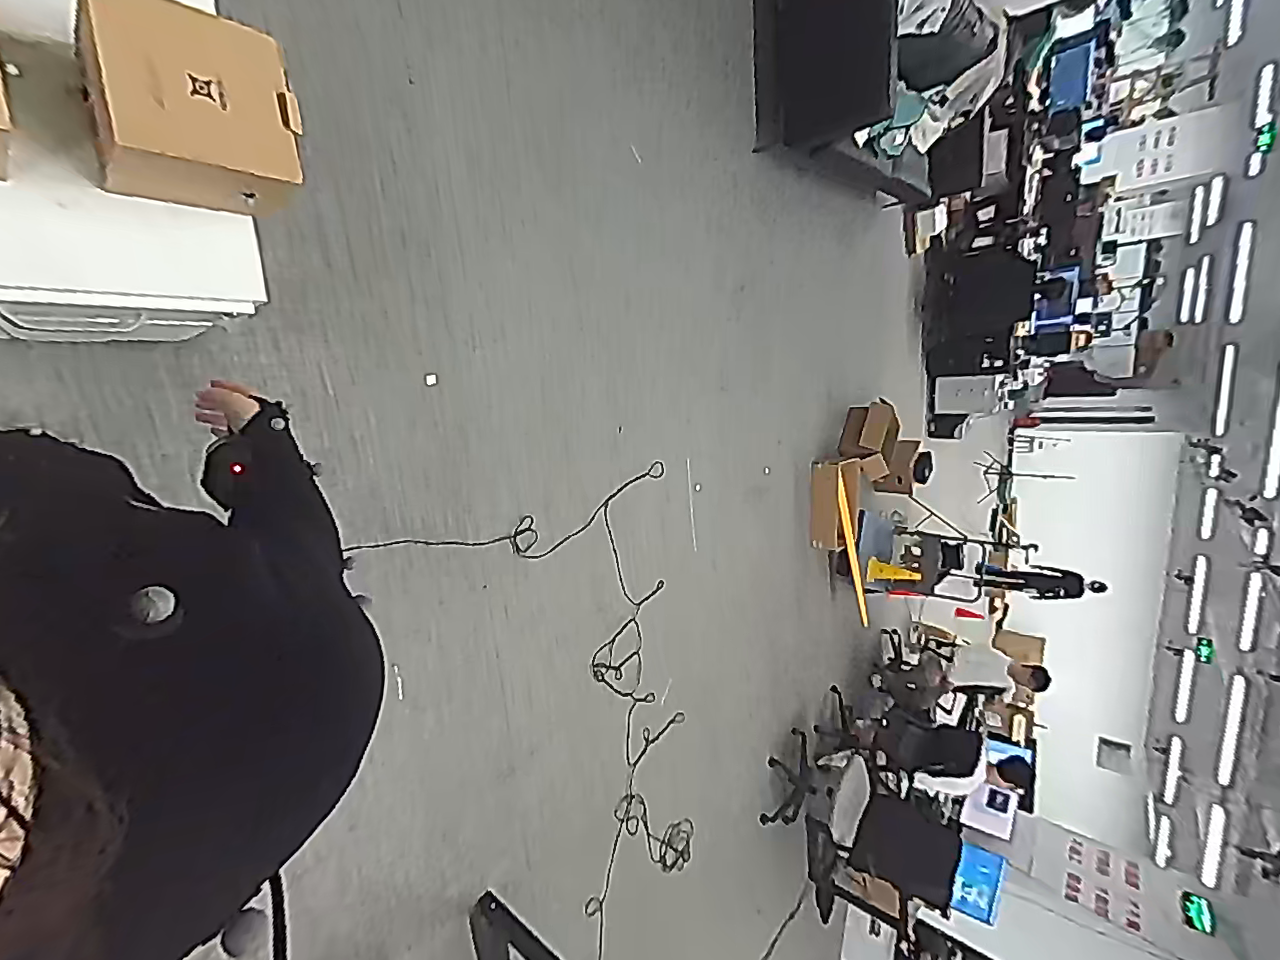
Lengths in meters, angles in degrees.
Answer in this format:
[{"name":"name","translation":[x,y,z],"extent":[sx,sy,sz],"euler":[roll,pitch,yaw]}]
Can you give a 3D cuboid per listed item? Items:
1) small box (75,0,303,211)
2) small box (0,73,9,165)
[{"name":"small box","translation":[-0.543,-0.444,0.655],"extent":[0.179,0.176,0.168],"euler":[-13,104,-46]},{"name":"small box","translation":[-0.700,-0.397,0.472],"extent":[0.179,0.176,0.168],"euler":[-14,106,-49]}]
